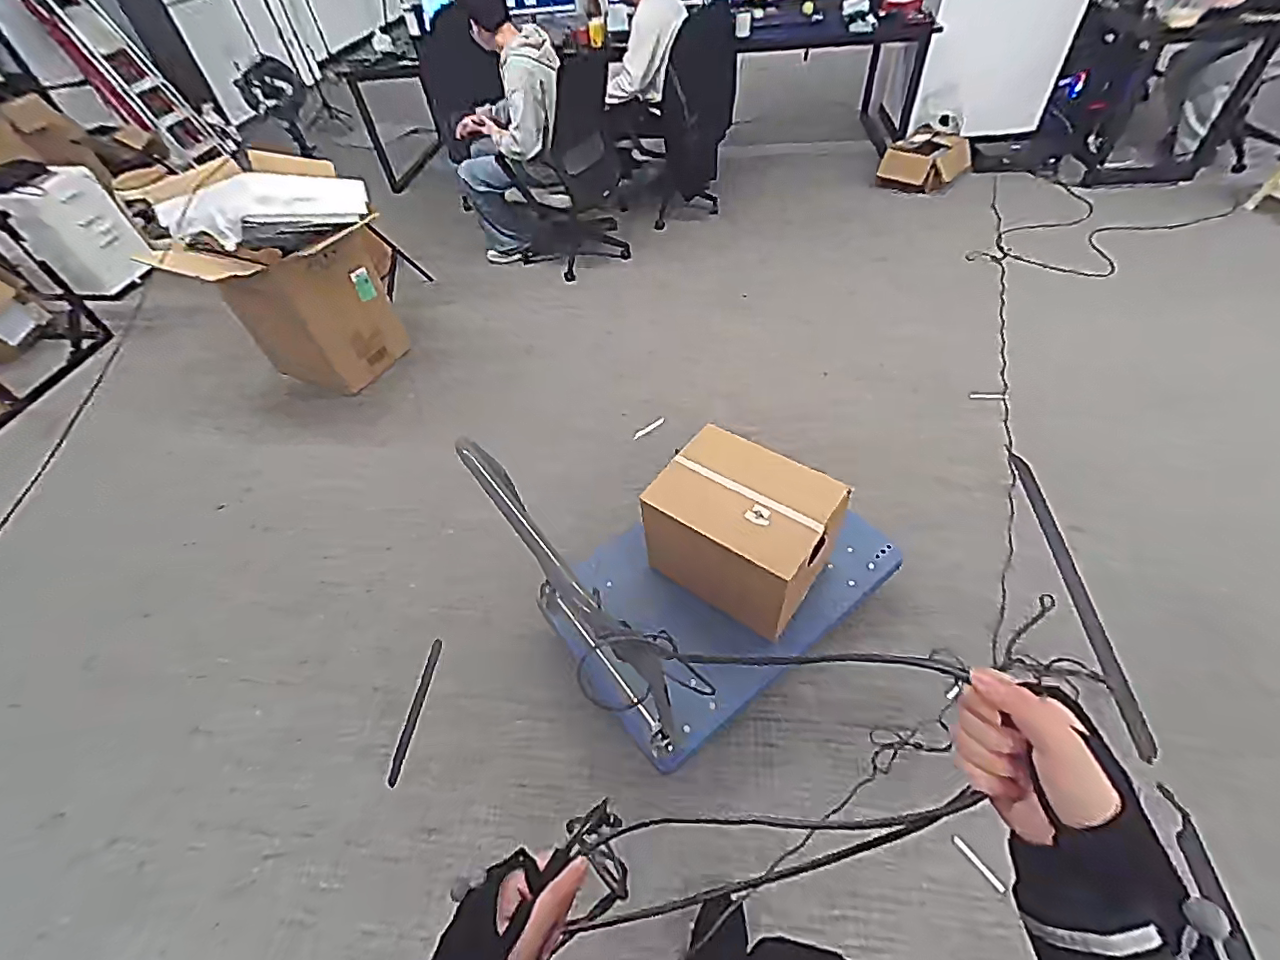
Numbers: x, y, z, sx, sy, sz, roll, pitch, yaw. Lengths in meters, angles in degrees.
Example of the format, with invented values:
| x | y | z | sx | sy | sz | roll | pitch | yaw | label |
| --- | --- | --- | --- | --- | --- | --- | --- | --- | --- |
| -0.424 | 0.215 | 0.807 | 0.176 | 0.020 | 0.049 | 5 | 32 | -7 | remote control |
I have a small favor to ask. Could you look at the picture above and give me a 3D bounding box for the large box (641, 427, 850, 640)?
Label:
| x | y | z | sx | sy | sz | roll | pitch | yaw | label |
| --- | --- | --- | --- | --- | --- | --- | --- | --- | --- |
| 0.256 | 0.130 | 1.390 | 0.408 | 0.320 | 0.320 | 29 | 59 | 26 | large box |
